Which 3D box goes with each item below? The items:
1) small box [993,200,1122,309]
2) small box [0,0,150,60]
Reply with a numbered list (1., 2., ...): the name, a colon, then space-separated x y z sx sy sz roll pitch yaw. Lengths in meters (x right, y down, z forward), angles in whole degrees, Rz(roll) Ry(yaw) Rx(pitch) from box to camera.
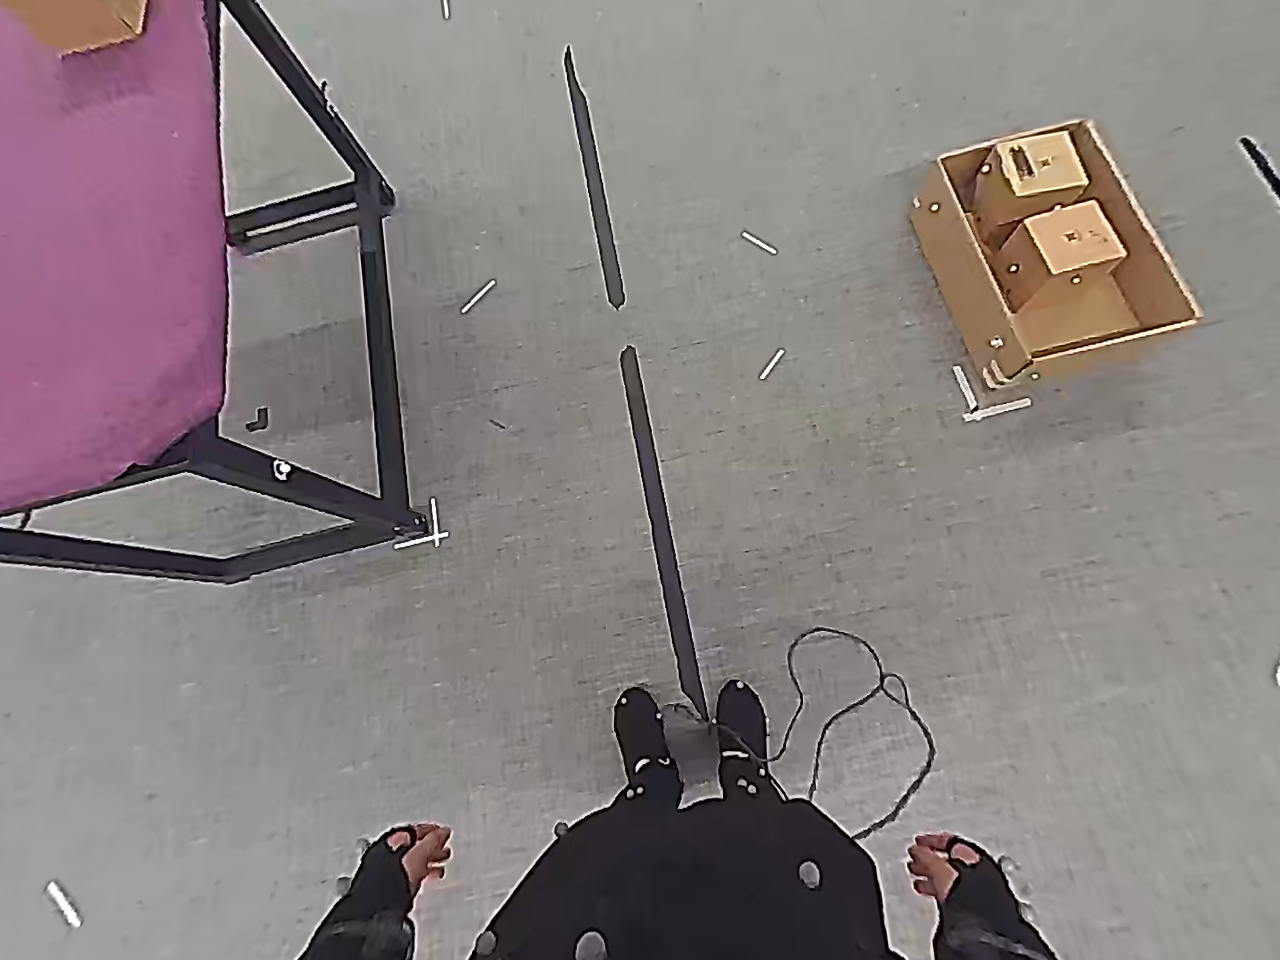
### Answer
1. small box: 1.029 -0.556 1.358 0.179 0.176 0.168 -15 74 3
2. small box: -1.034 -0.896 0.960 0.179 0.176 0.168 -9 74 5
